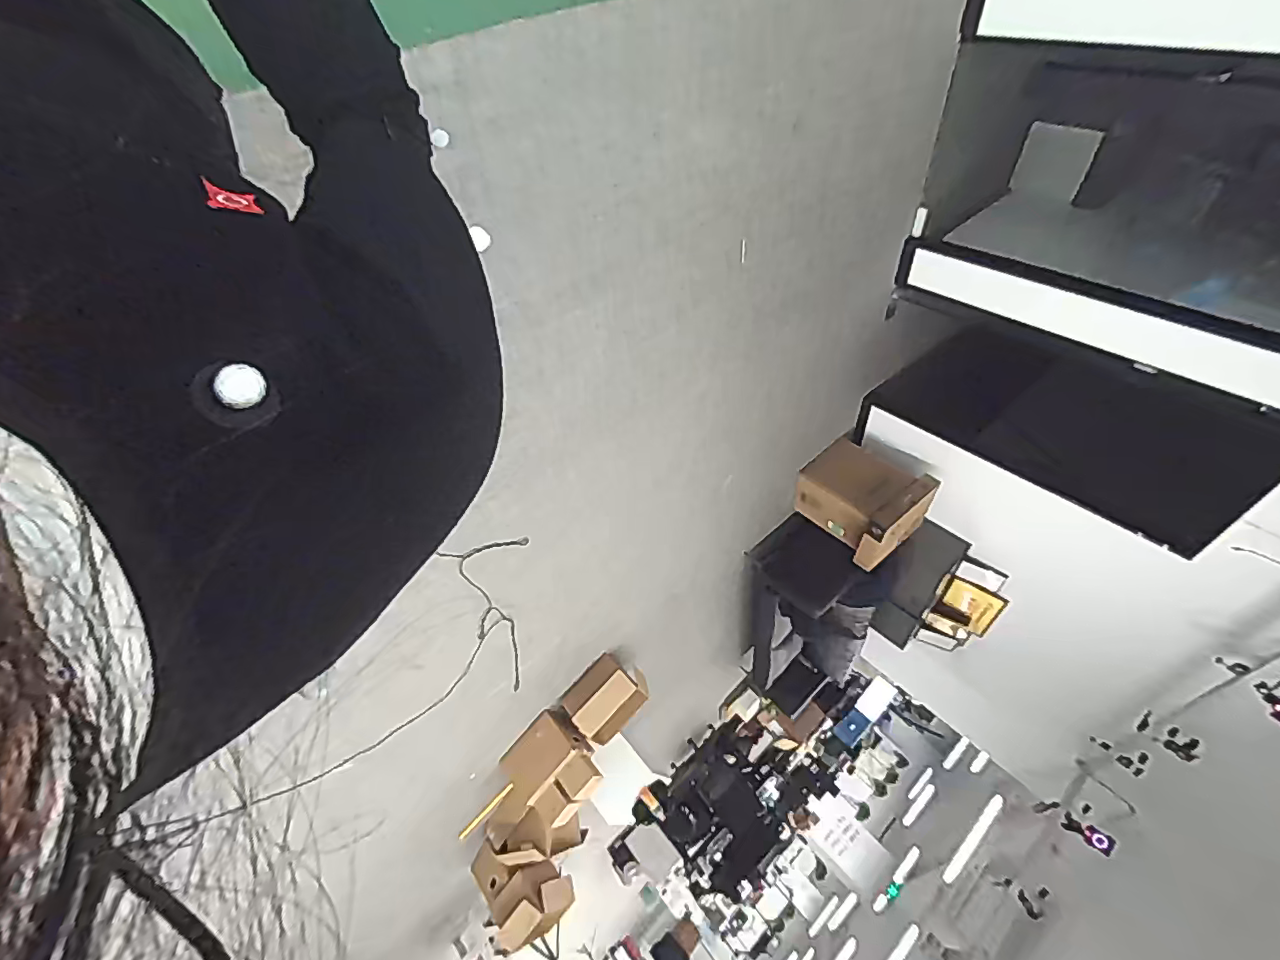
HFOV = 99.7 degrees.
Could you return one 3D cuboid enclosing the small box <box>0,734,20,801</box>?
[{"bbox_3d":[-1.616,0.694,1.249,0.179,0.176,0.168,-38,145,-19],"label":"small box"}]
